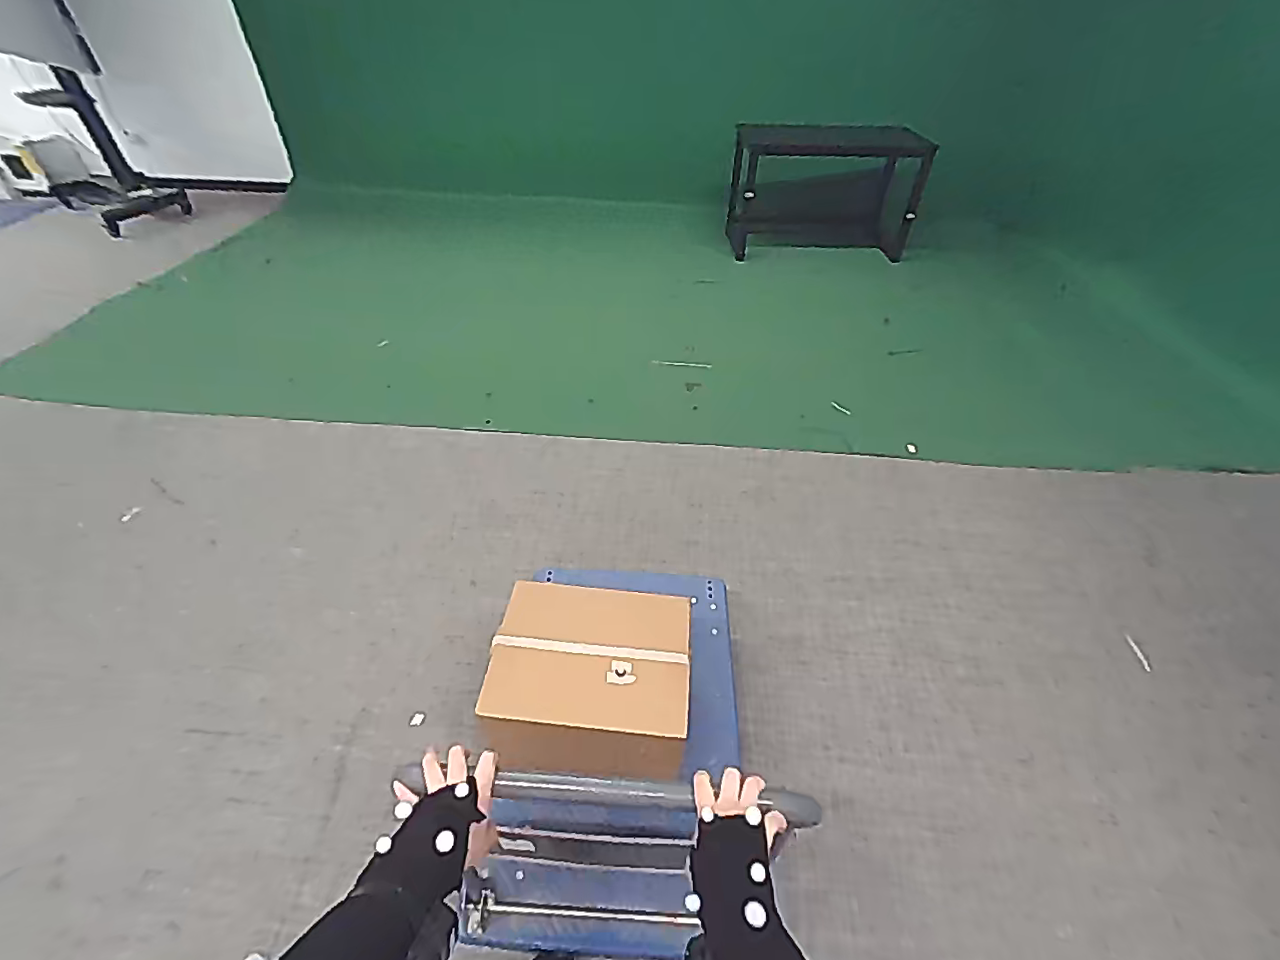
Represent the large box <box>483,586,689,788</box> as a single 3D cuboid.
[{"bbox_3d":[-0.105,0.474,1.241,0.408,0.320,0.320,6,43,2],"label":"large box"}]
